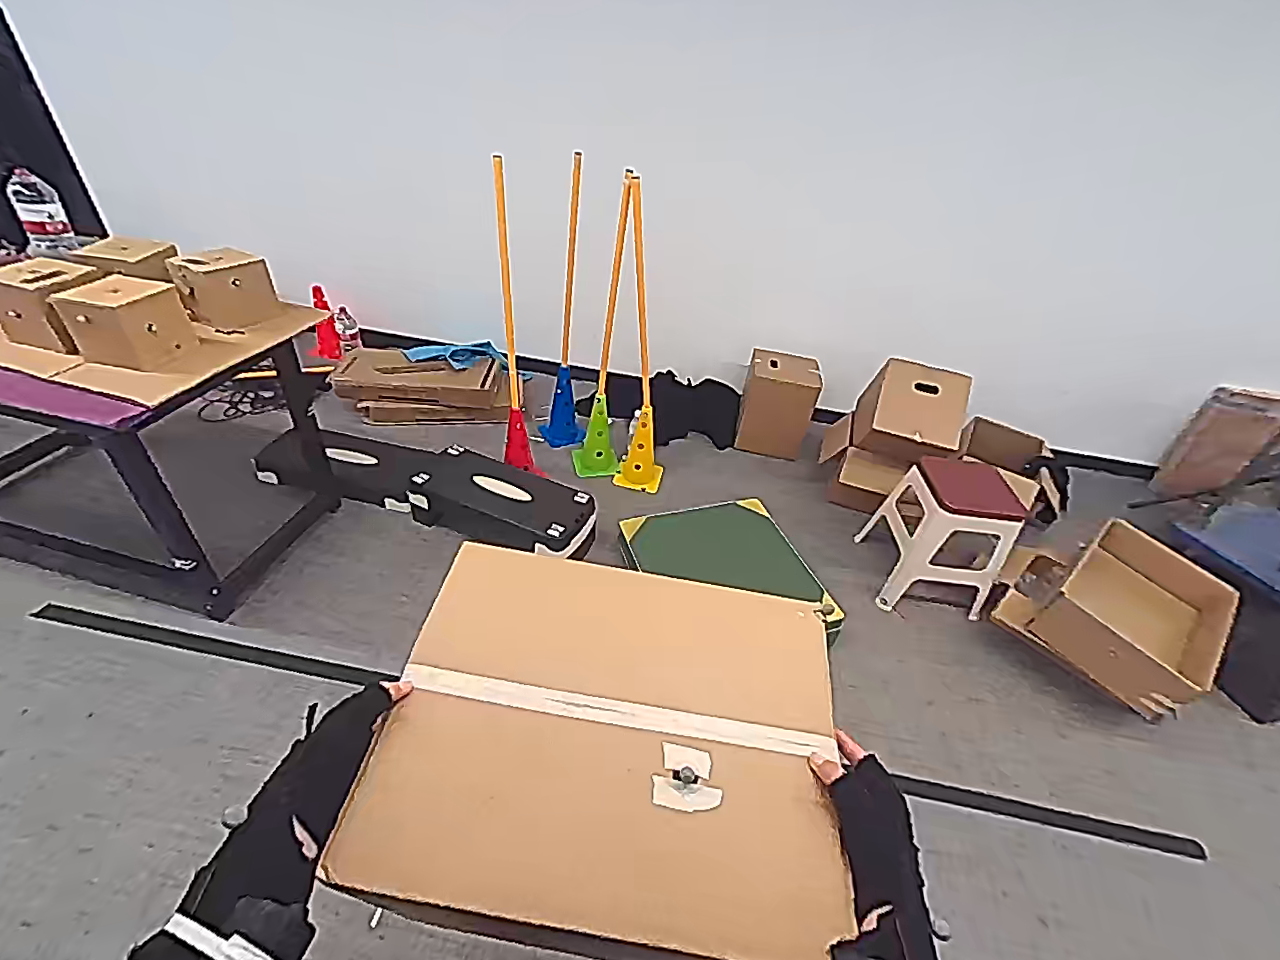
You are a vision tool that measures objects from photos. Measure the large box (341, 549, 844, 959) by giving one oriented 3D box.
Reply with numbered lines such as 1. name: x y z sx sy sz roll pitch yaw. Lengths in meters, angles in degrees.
1. large box: -0.036 0.319 0.623 0.408 0.320 0.320 10 48 1
